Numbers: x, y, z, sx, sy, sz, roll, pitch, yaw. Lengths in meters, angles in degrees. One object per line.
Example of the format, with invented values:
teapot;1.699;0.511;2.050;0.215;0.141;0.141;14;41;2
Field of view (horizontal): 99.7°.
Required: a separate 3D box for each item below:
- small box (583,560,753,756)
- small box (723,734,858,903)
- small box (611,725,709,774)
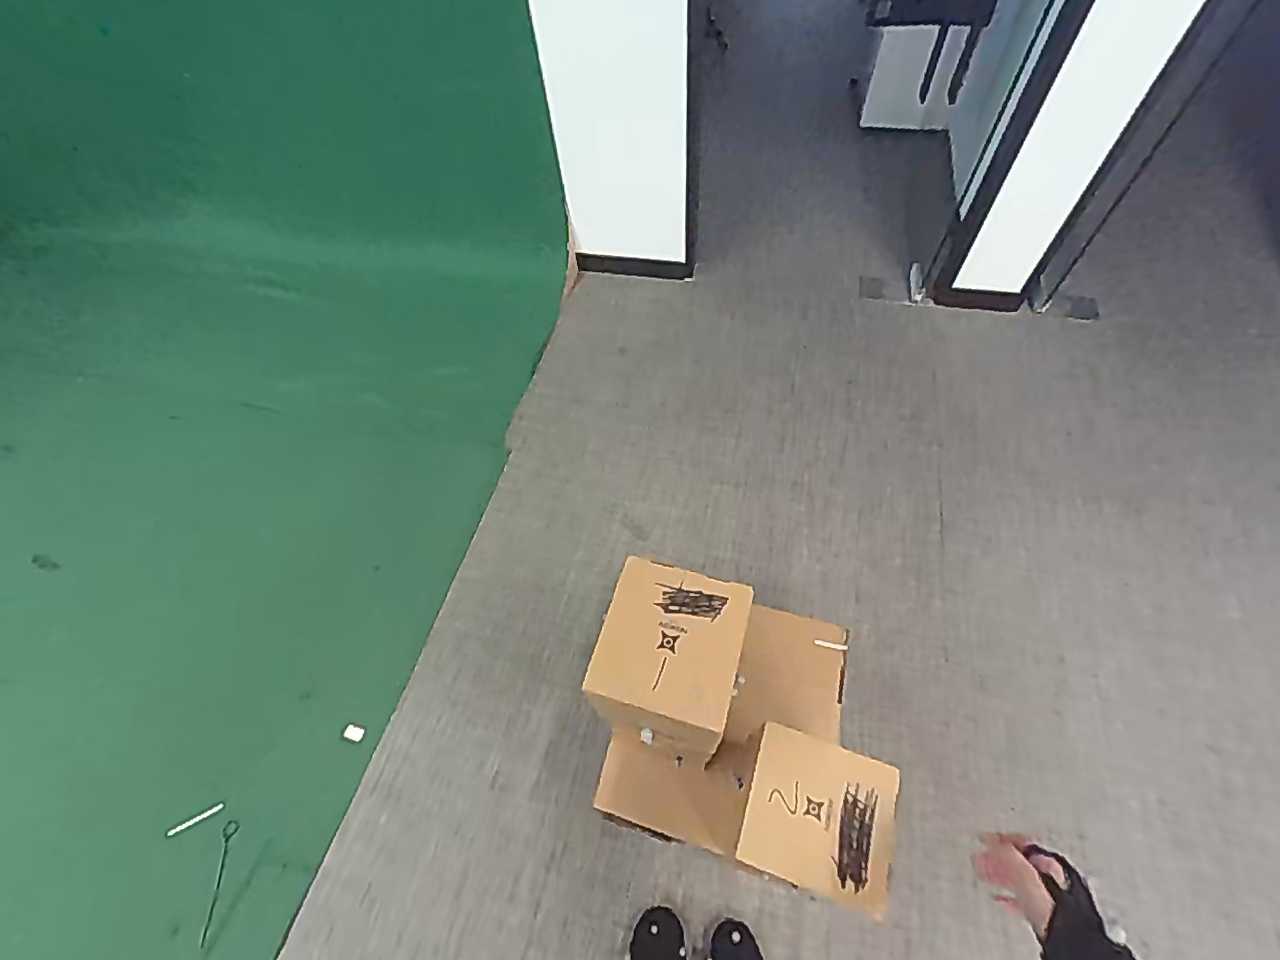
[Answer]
small box;0.041;0.234;0.702;0.168;0.176;0.179;13;58;13
small box;0.235;0.541;0.870;0.168;0.176;0.179;14;57;13
small box;0.060;0.409;0.977;0.168;0.176;0.179;13;56;13
